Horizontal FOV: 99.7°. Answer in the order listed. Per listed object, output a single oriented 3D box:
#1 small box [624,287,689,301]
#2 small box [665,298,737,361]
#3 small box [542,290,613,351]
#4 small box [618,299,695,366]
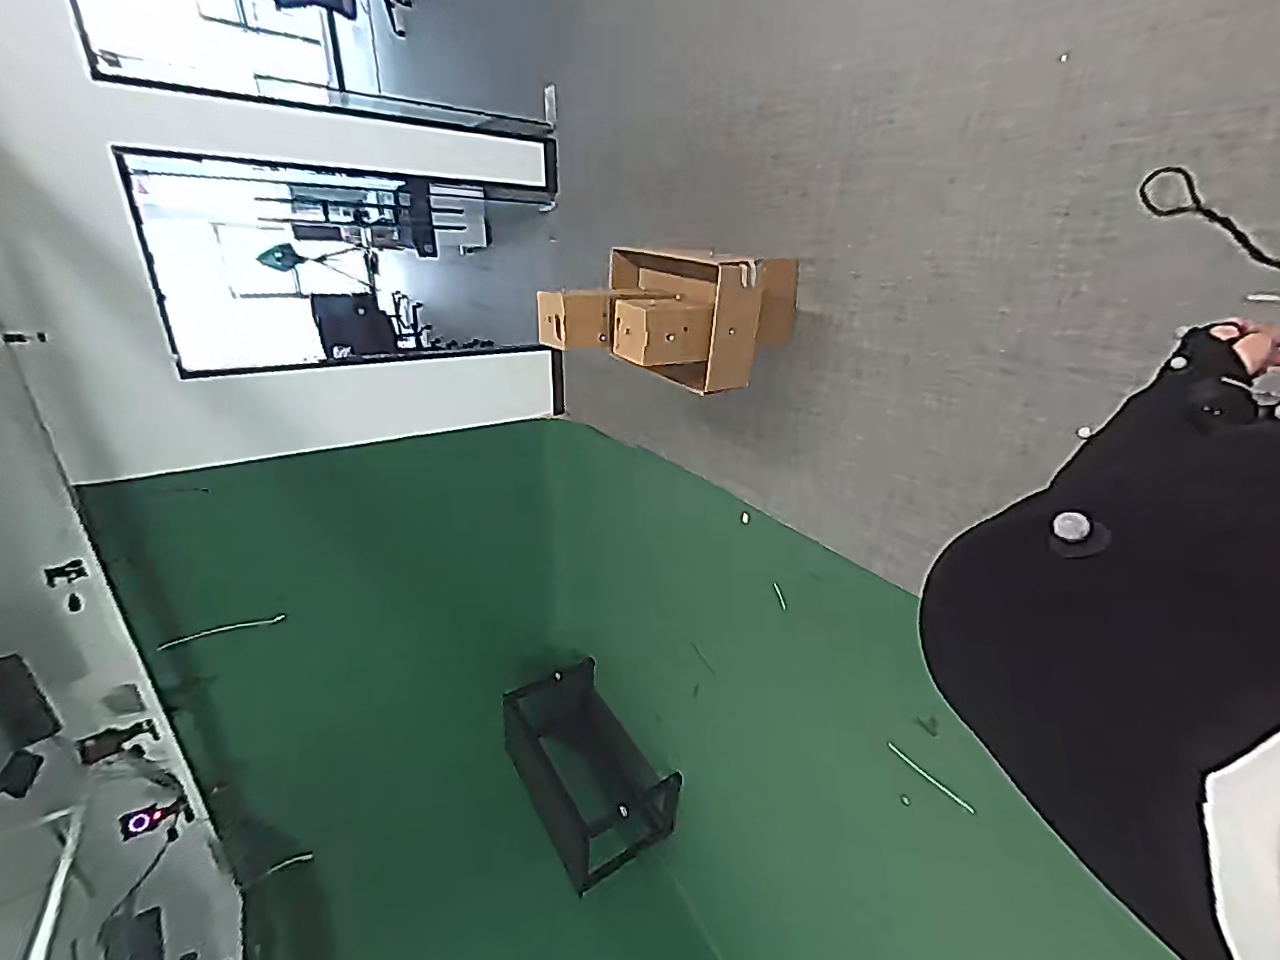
[{"bbox_3d":[0.054,-0.596,1.941,0.179,0.176,0.168,32,127,46],"label":"small box"},{"bbox_3d":[0.187,-0.493,1.753,0.179,0.176,0.168,38,132,48],"label":"small box"},{"bbox_3d":[-0.198,-0.520,1.744,0.179,0.176,0.168,30,126,48],"label":"small box"},{"bbox_3d":[0.051,-0.461,1.670,0.179,0.176,0.168,37,131,47],"label":"small box"}]
